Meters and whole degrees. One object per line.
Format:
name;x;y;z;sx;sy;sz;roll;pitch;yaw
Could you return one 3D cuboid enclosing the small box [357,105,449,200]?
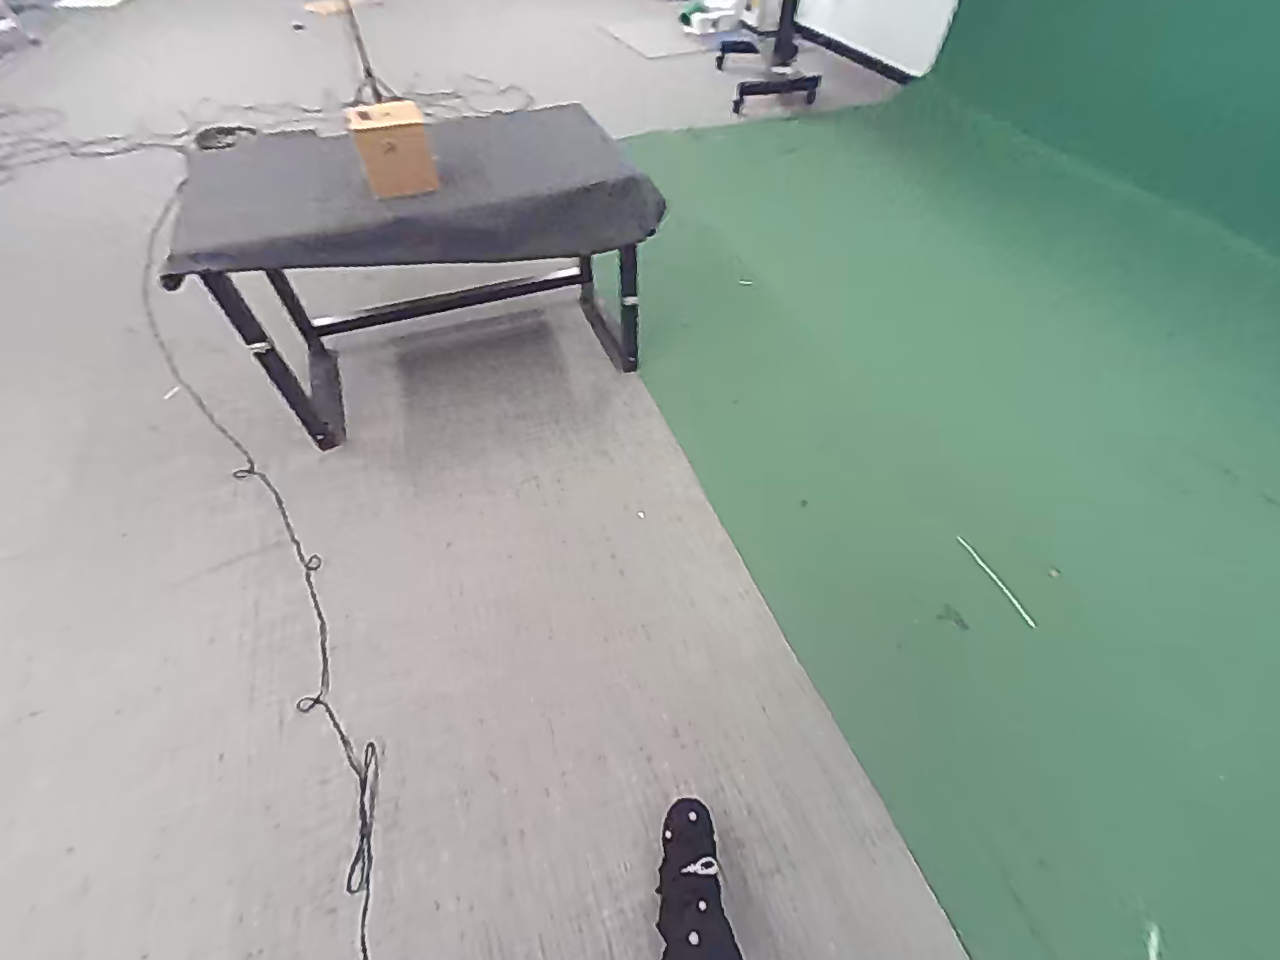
small box;-0.632;-0.876;1.451;0.179;0.176;0.168;-18;54;-13
